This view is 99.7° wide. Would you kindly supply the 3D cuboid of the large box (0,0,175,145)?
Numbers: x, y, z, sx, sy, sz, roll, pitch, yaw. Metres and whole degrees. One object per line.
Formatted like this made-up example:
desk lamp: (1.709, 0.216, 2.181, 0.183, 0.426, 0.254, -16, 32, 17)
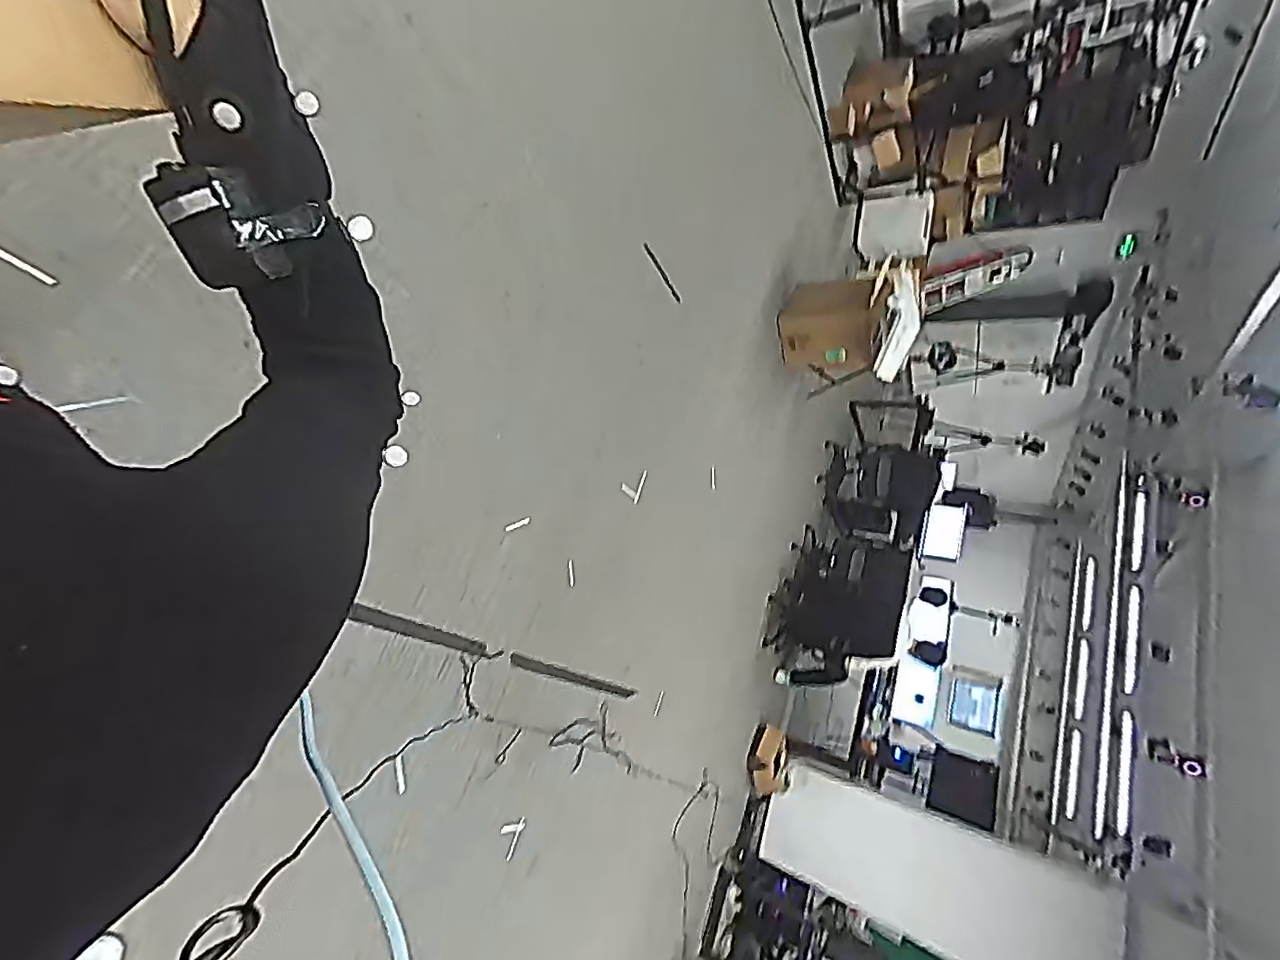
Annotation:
large box: (-0.485, -0.278, 0.142, 0.408, 0.320, 0.320, -41, 138, -49)
